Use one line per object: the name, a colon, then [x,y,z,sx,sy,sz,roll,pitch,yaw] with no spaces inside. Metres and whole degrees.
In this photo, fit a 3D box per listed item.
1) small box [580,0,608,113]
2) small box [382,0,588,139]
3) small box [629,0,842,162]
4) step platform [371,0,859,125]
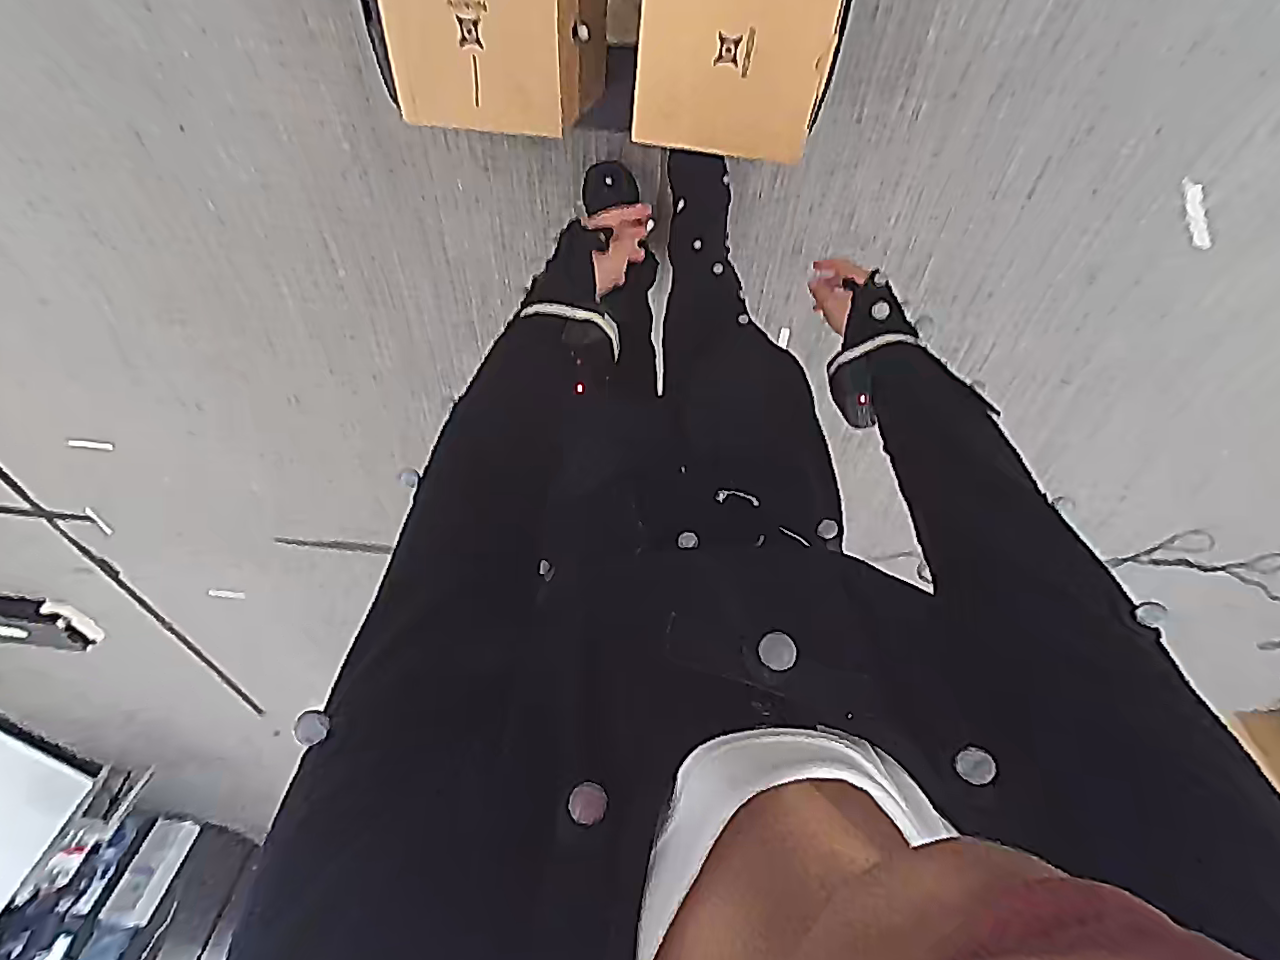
small box: [-0.132,-0.584,0.671,0.168,0.176,0.179,7,134,0]
small box: [-0.147,-0.474,0.550,0.168,0.176,0.179,6,134,0]
small box: [0.090,-0.448,0.553,0.179,0.176,0.168,7,134,-1]
step platform: [-0.036,-0.708,0.783,0.684,0.204,0.286,5,133,2]
